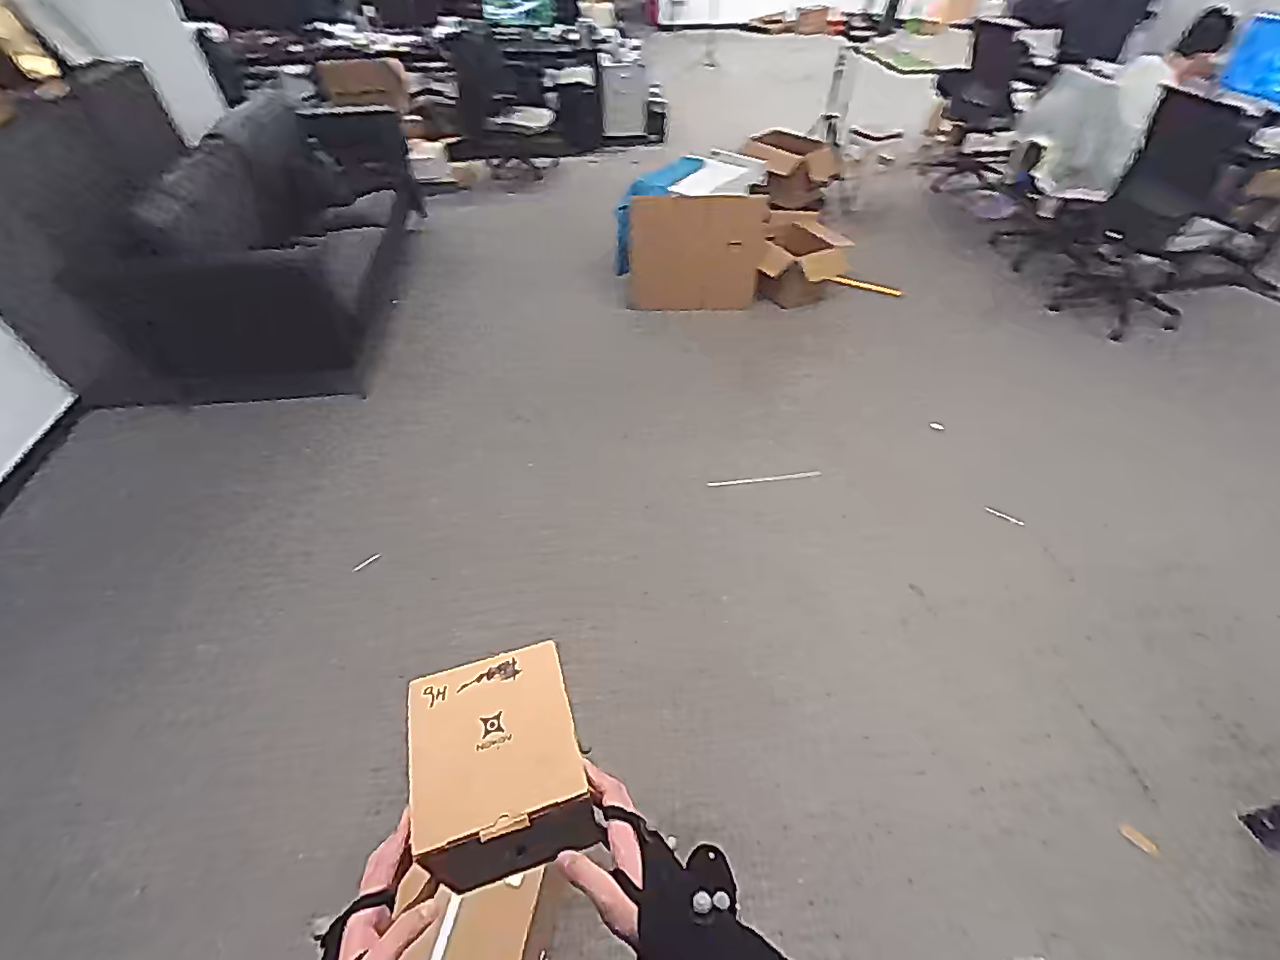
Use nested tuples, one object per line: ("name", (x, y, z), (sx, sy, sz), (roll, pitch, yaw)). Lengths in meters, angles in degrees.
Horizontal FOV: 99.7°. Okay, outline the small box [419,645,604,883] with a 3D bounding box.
("small box", (-0.140, 0.322, 0.607), (0.168, 0.176, 0.179), (-12, 45, -12))
